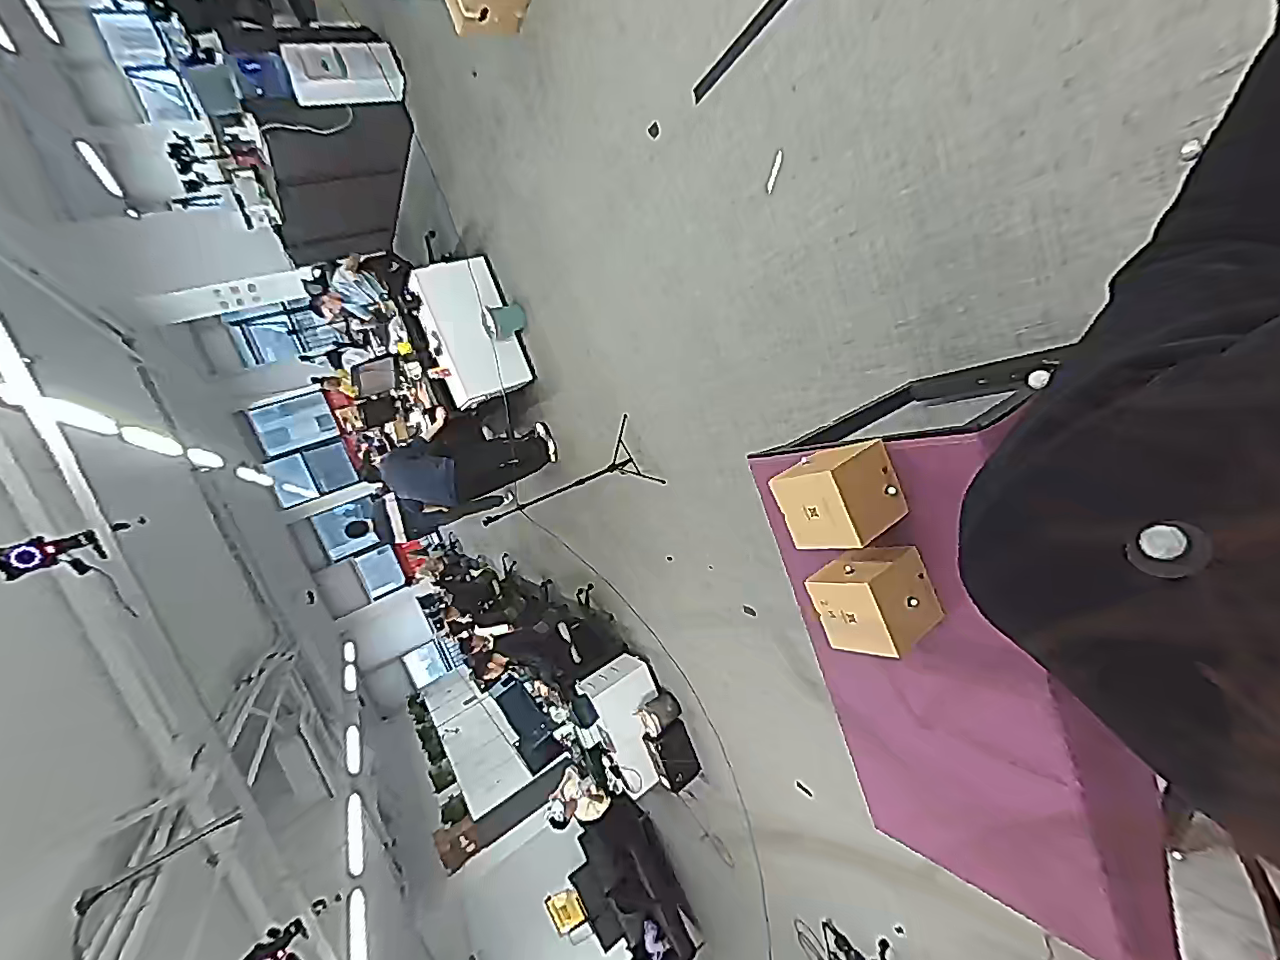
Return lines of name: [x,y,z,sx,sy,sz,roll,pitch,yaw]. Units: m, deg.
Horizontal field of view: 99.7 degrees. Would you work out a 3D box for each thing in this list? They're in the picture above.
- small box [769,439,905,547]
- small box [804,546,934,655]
small box: [0.409,0.029,1.129,0.179,0.176,0.168,-13,103,63]
small box: [0.497,0.249,1.162,0.179,0.176,0.168,-17,97,63]
